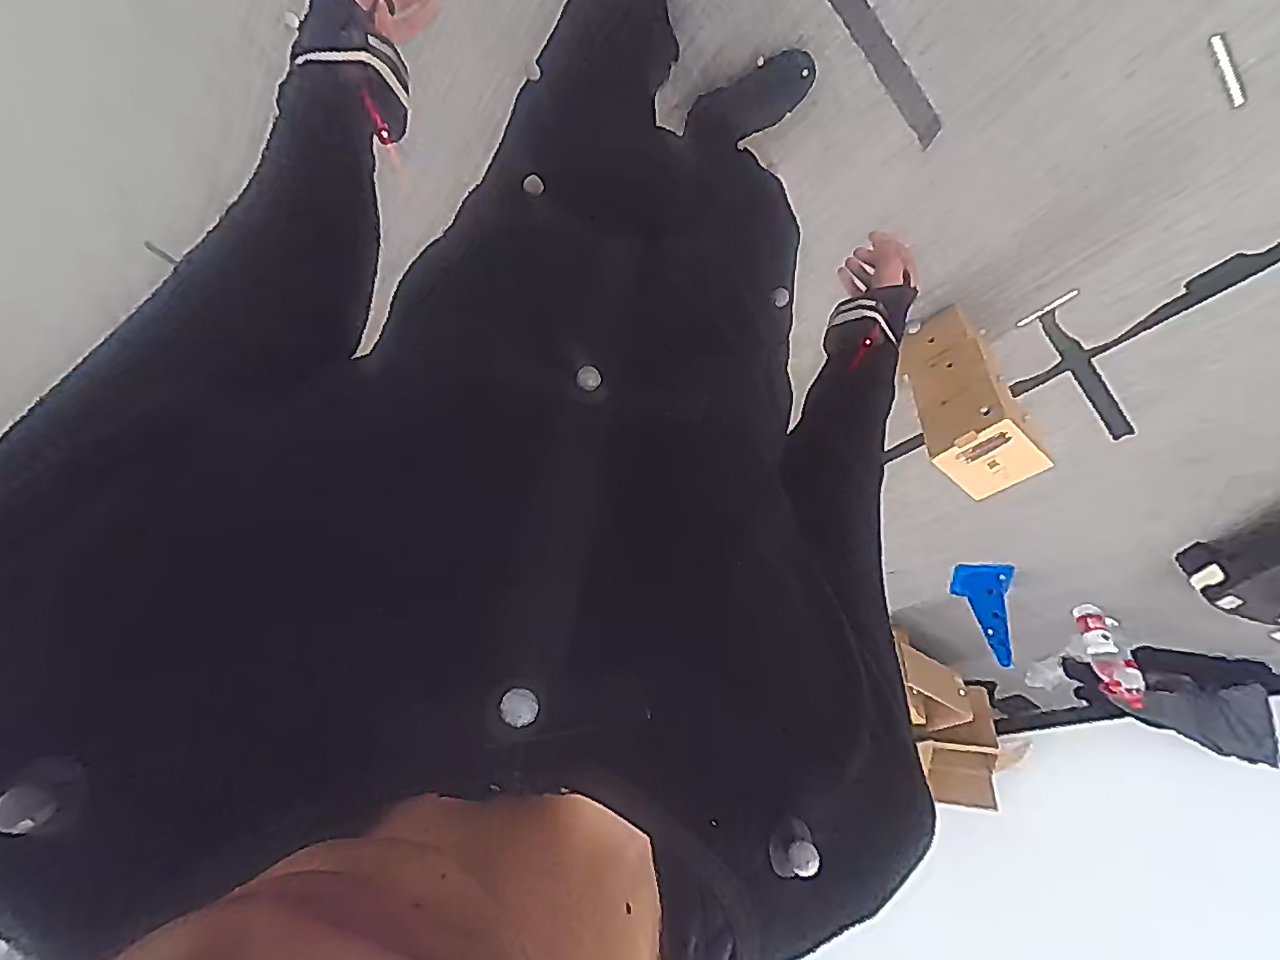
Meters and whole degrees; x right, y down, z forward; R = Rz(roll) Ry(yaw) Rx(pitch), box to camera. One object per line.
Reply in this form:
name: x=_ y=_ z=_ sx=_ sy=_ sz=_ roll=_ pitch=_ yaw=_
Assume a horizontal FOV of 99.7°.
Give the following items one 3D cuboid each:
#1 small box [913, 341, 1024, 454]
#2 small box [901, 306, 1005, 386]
small box: x=0.794 y=-0.202 z=1.319 sx=0.179 sy=0.176 sz=0.168 roll=40 pitch=132 yaw=-22
small box: x=0.815 y=-0.321 z=1.429 sx=0.168 sy=0.176 sz=0.179 roll=36 pitch=132 yaw=-20
